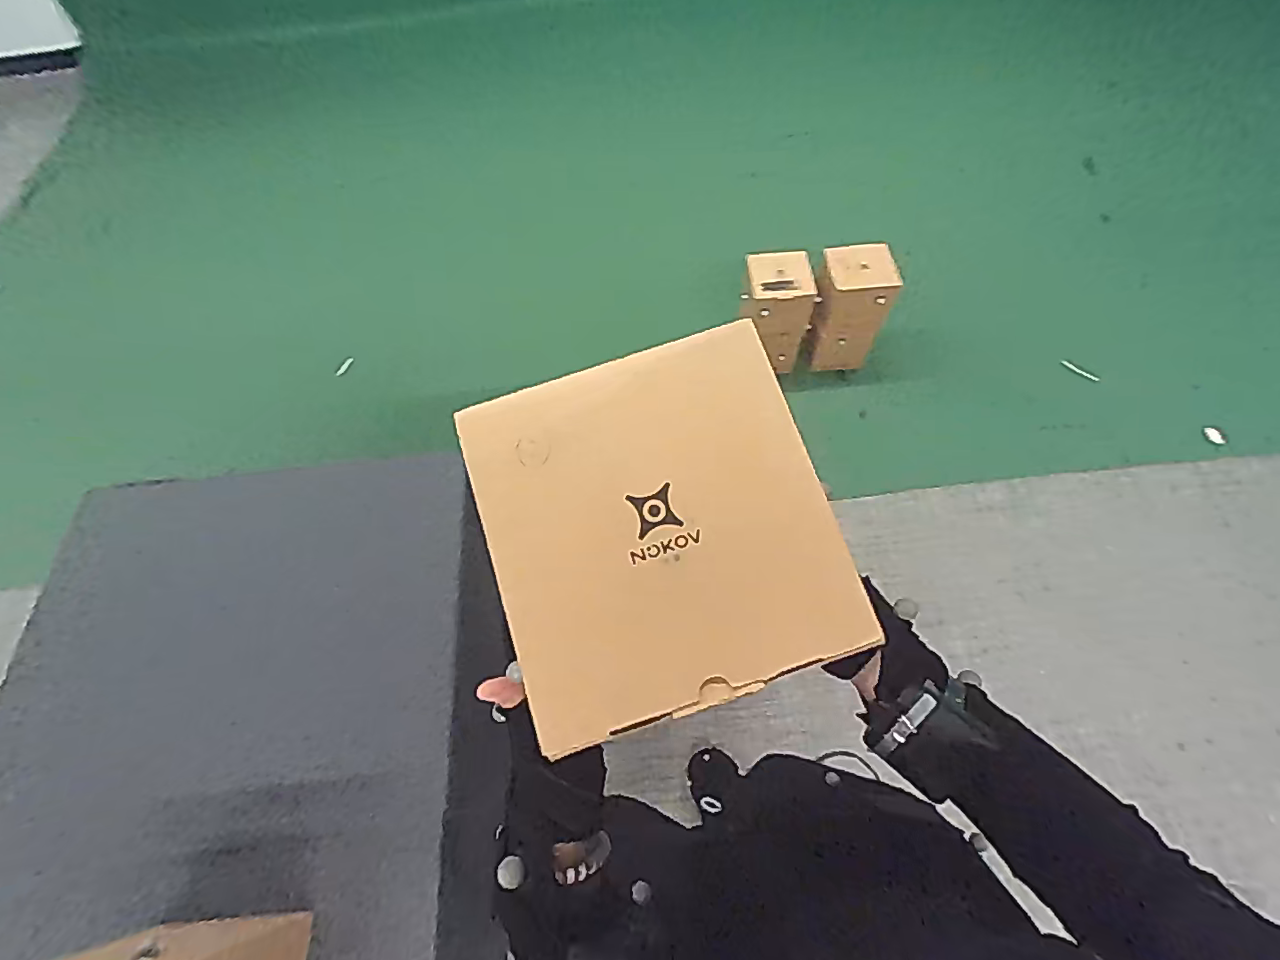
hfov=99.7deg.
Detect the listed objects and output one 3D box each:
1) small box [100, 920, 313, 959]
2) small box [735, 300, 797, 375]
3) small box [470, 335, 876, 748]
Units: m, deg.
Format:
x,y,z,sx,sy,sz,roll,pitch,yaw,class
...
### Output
x,y,z,sx,sy,sz,roll,pitch,yaw,class
-0.427,0.513,0.473,0.179,0.176,0.168,-8,62,2,small box
0.395,-0.447,1.724,0.168,0.176,0.179,-2,63,3,small box
0.013,0.041,0.351,0.168,0.176,0.179,-19,77,-2,small box
